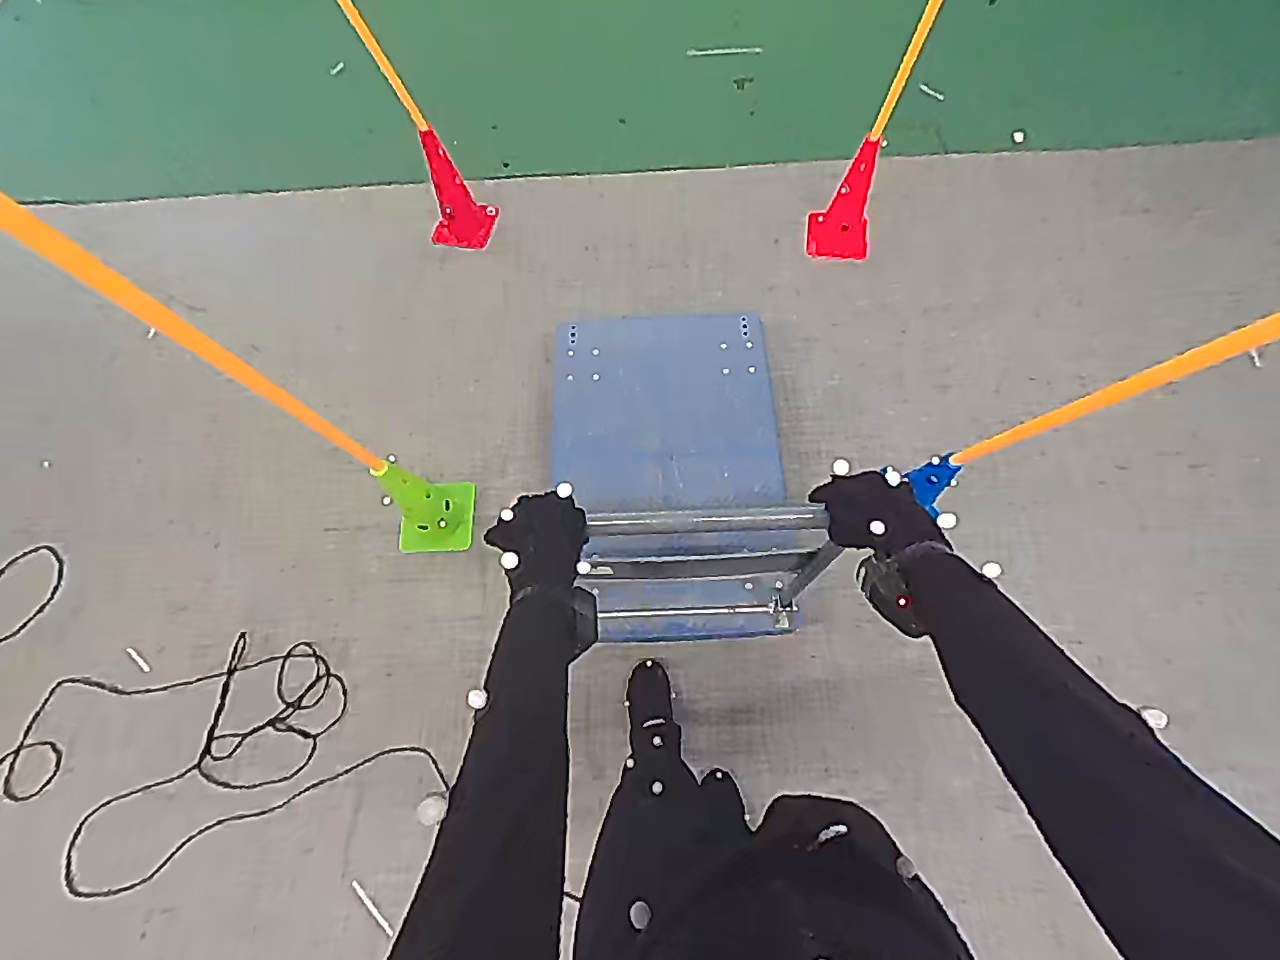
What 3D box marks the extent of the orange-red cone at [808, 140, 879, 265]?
[{"bbox_3d":[0.662,-0.871,1.673,0.198,0.360,0.199,8,69,7],"label":"orange-red cone"}]
